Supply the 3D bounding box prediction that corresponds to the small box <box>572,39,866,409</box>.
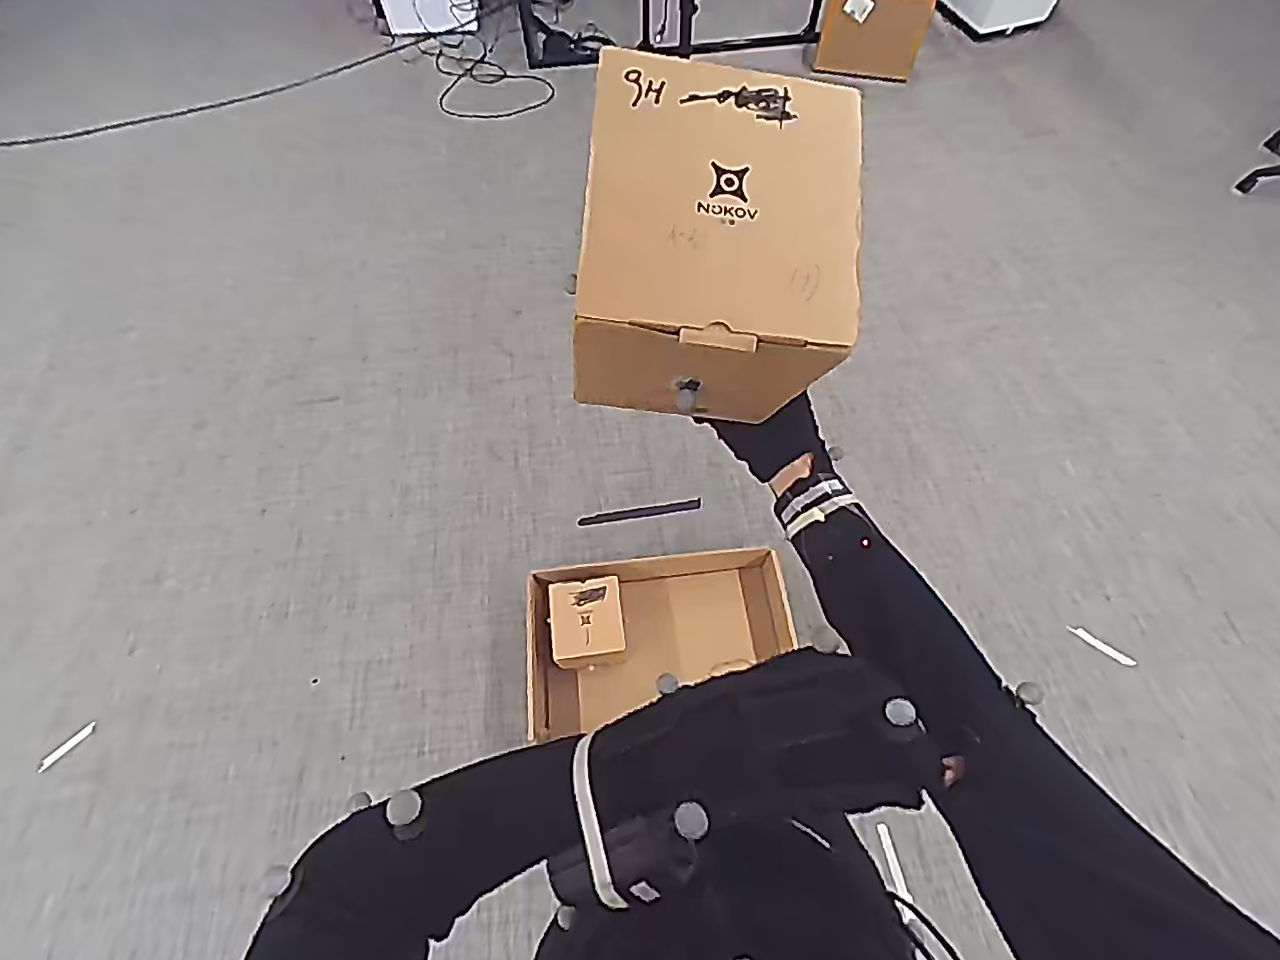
[{"bbox_3d":[0.043,-0.159,0.395,0.168,0.176,0.179,5,82,-6],"label":"small box"}]
